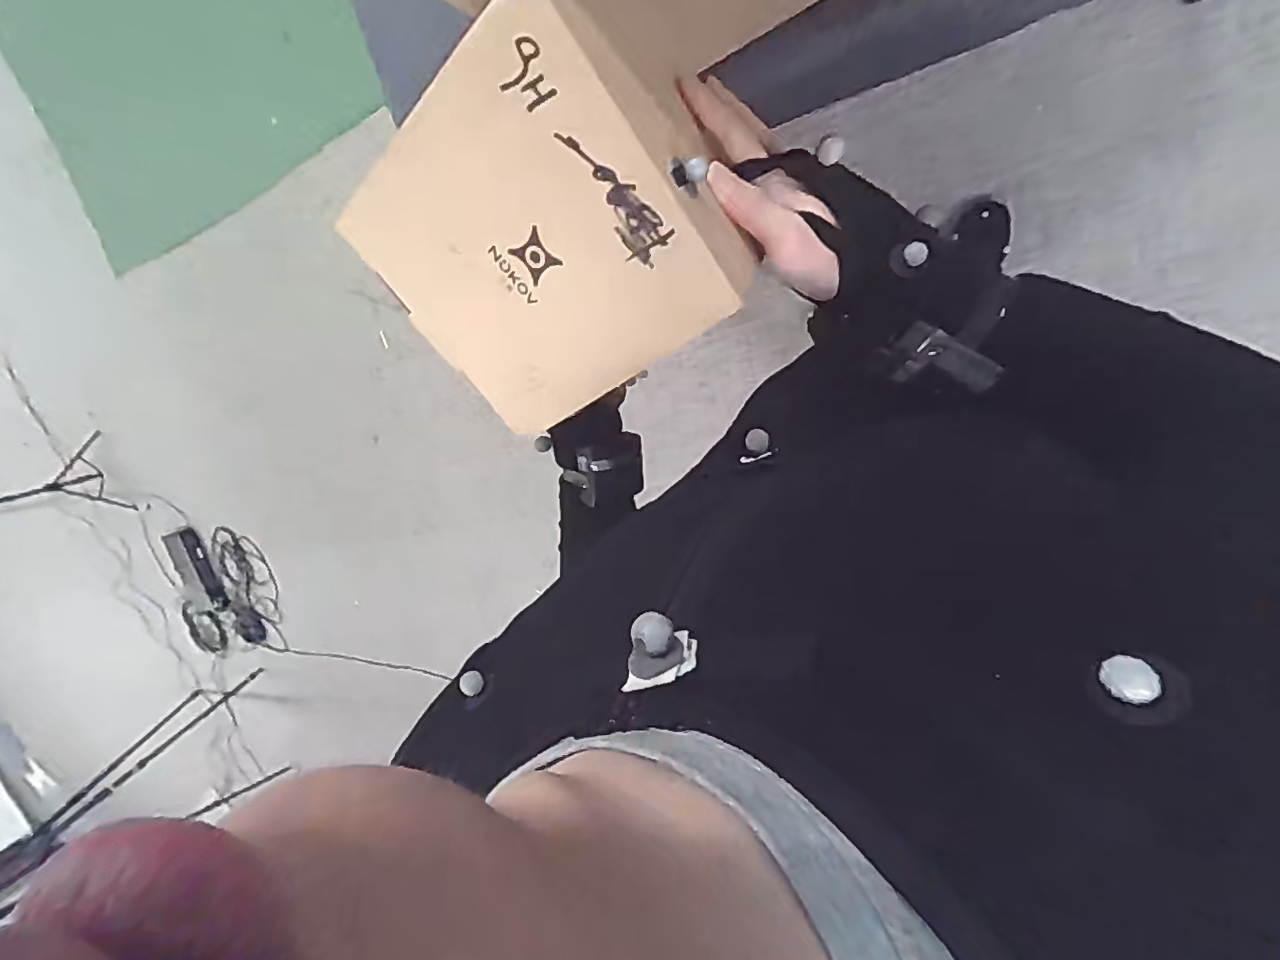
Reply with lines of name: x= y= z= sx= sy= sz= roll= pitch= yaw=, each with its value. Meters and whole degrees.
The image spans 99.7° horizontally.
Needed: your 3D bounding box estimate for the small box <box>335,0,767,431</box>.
small box: x=-0.039 y=-0.166 z=0.346 sx=0.179 sy=0.176 sz=0.168 roll=-24 pitch=116 yaw=35
